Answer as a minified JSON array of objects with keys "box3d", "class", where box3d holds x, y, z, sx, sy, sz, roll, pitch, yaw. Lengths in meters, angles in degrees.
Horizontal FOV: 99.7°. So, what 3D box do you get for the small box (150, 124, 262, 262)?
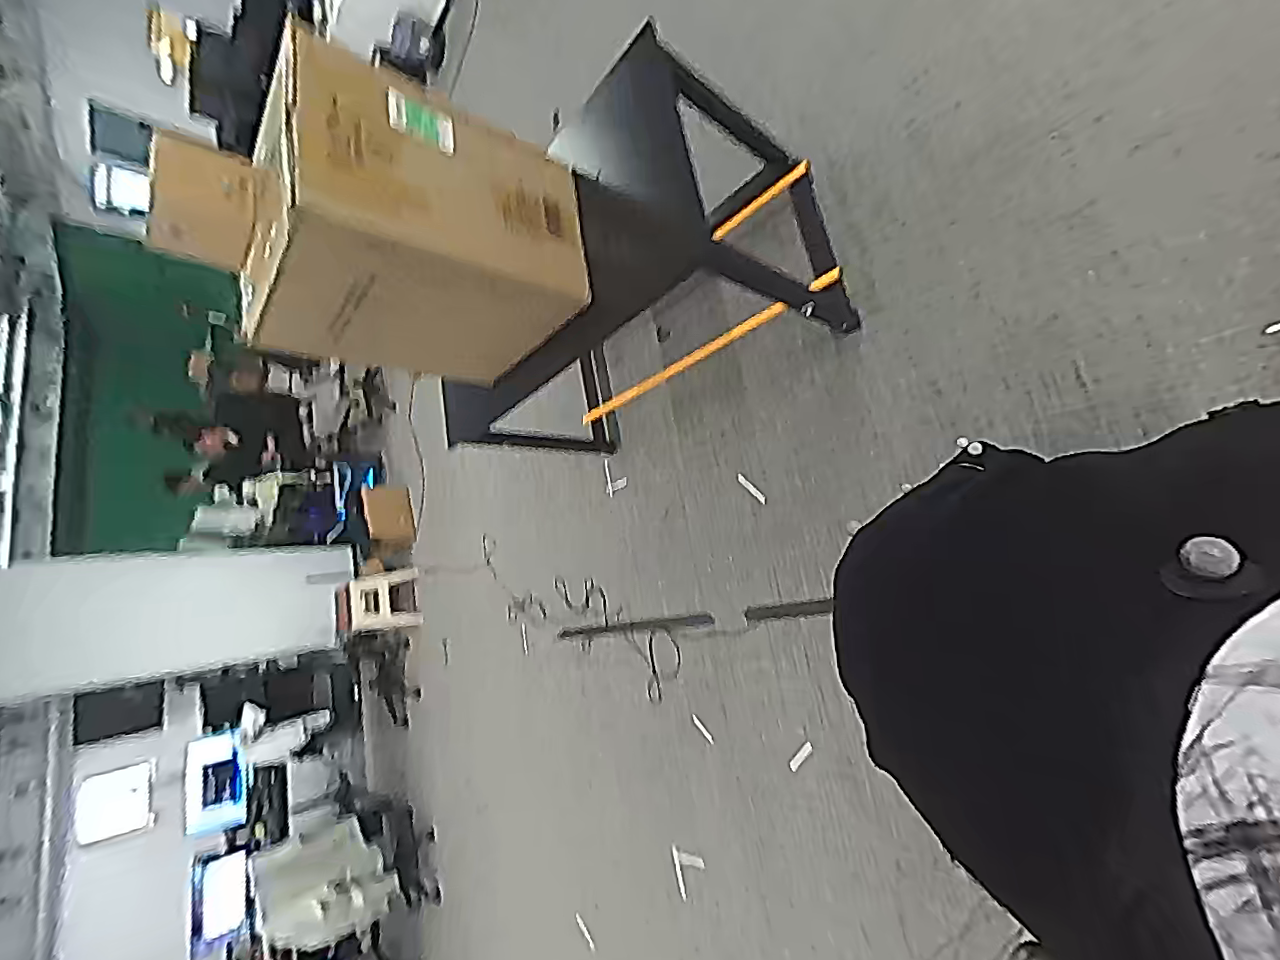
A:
[{"box3d":[-0.941,-0.608,1.175,0.179,0.176,0.168,-21,72,43],"class":"small box"}]
